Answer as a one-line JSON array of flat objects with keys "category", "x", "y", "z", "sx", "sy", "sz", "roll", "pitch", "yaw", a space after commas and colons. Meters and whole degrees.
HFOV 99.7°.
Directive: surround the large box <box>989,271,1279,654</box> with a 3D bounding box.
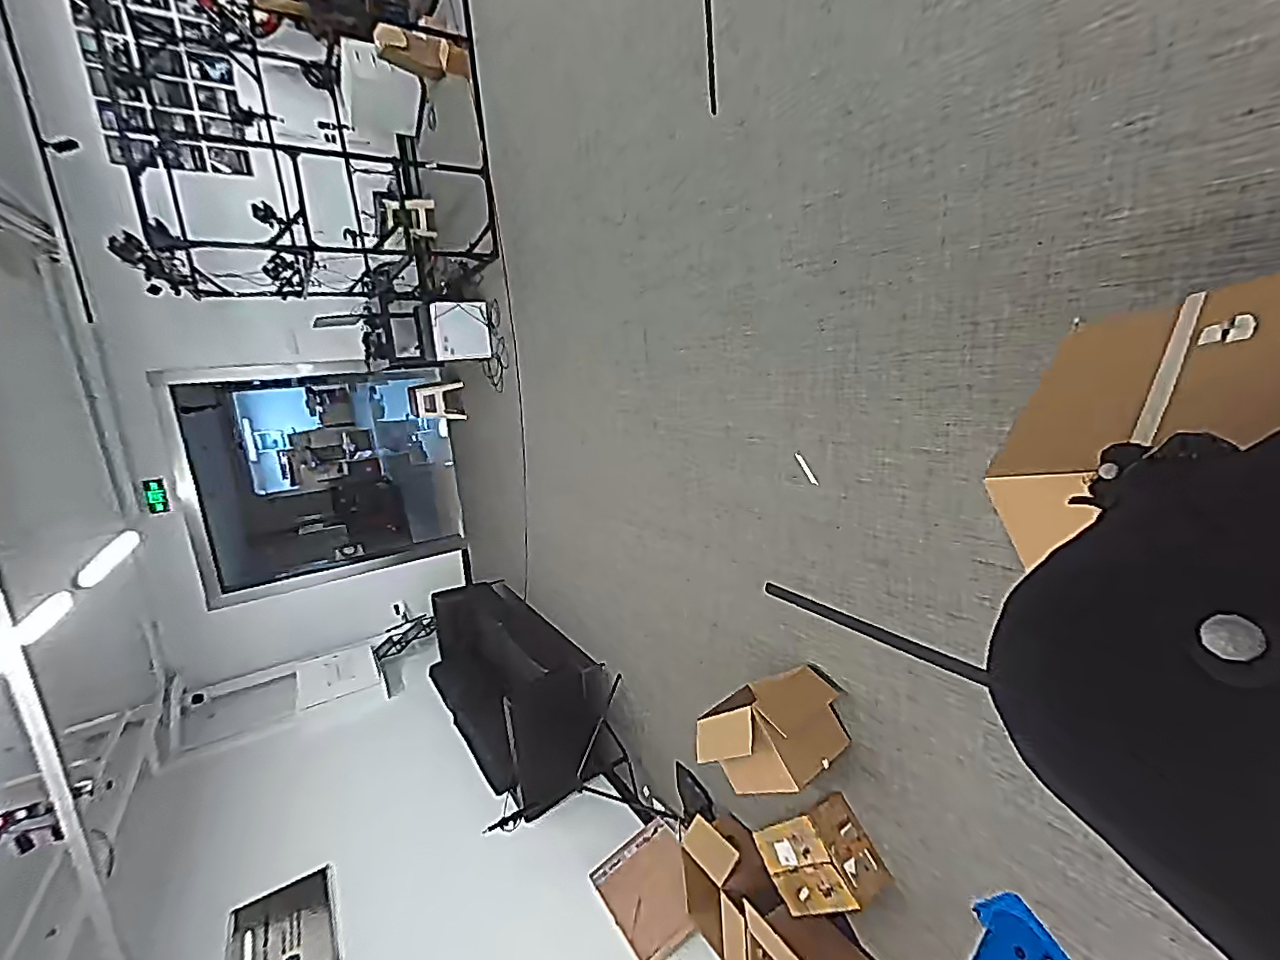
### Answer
[{"category": "large box", "x": 0.762, "y": -0.027, "z": 0.735, "sx": 0.320, "sy": 0.408, "sz": 0.320, "roll": 55, "pitch": 154, "yaw": -17}]
